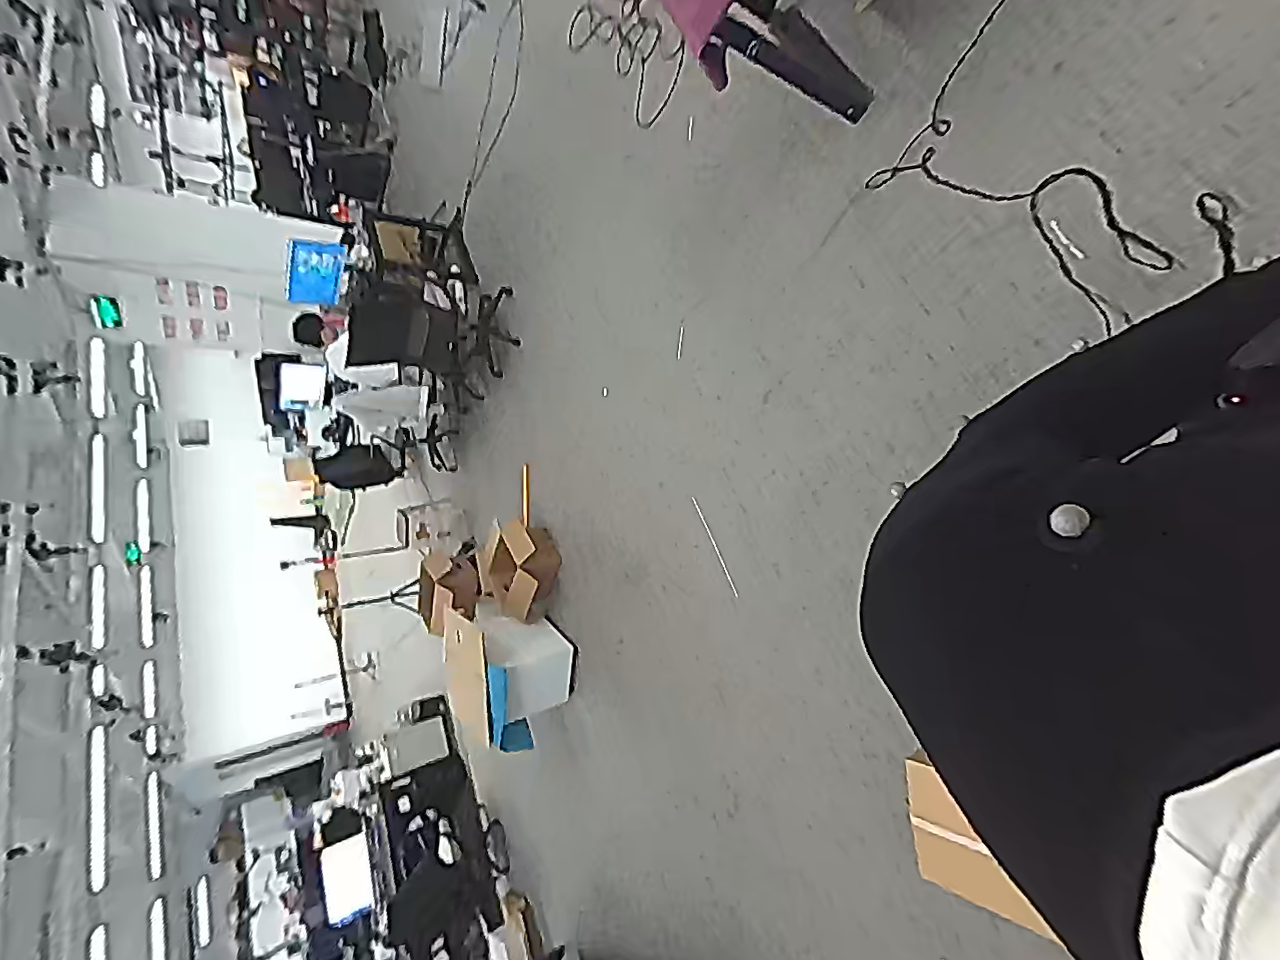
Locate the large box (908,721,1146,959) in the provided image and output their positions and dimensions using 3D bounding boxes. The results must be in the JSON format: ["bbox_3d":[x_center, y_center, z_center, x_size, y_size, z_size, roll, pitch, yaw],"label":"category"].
[{"bbox_3d":[0.959,0.849,1.359,0.408,0.320,0.320,-9,88,51],"label":"large box"}]
